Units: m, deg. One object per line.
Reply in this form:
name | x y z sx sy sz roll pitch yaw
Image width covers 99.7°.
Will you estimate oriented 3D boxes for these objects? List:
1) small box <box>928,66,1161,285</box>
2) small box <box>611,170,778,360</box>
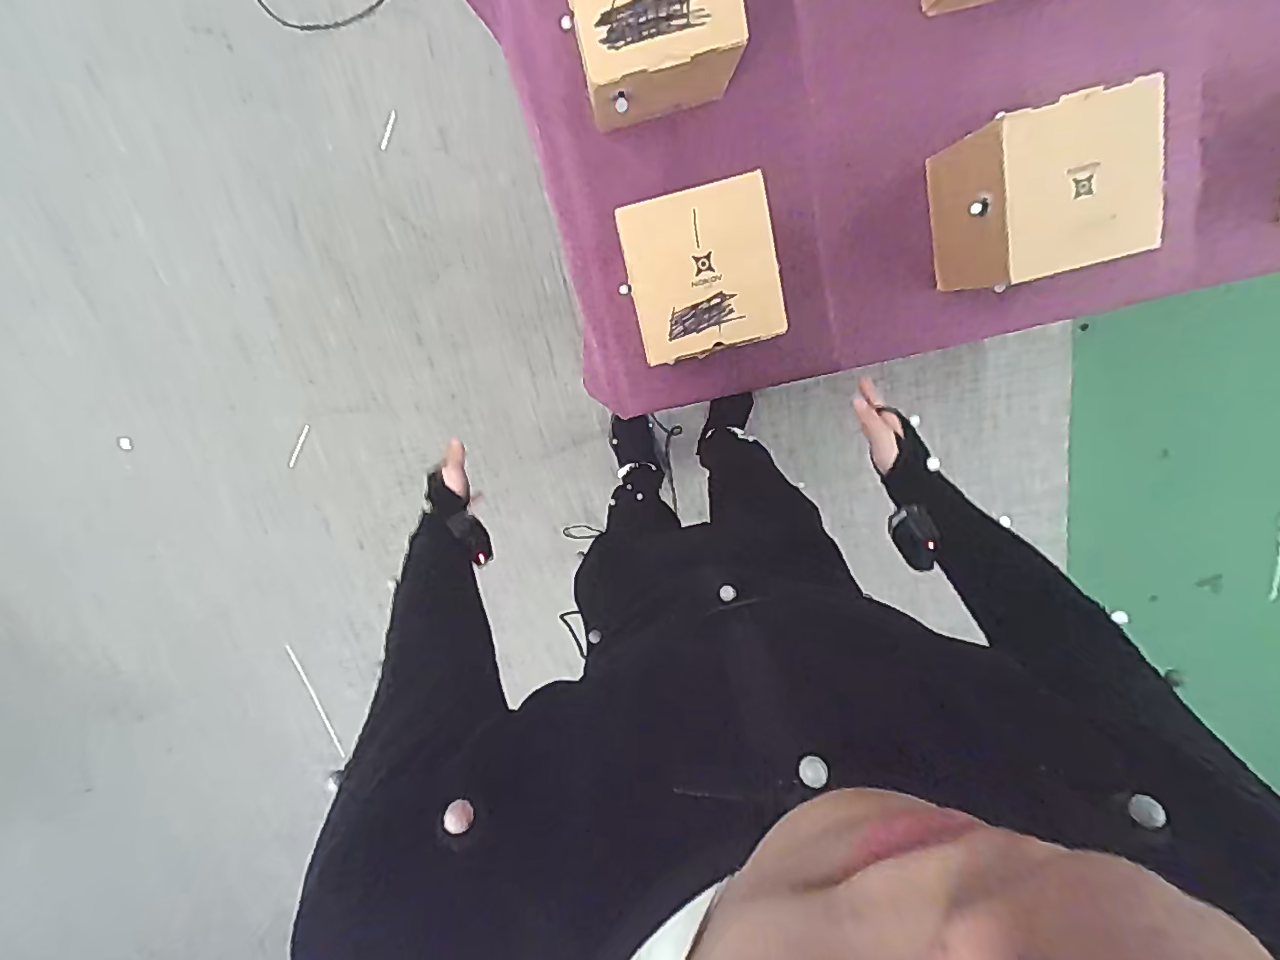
small box | 0.474 -0.350 0.659 0.168 0.176 0.179 -12 106 6
small box | 0.068 -0.264 0.694 0.168 0.176 0.179 -13 105 5
